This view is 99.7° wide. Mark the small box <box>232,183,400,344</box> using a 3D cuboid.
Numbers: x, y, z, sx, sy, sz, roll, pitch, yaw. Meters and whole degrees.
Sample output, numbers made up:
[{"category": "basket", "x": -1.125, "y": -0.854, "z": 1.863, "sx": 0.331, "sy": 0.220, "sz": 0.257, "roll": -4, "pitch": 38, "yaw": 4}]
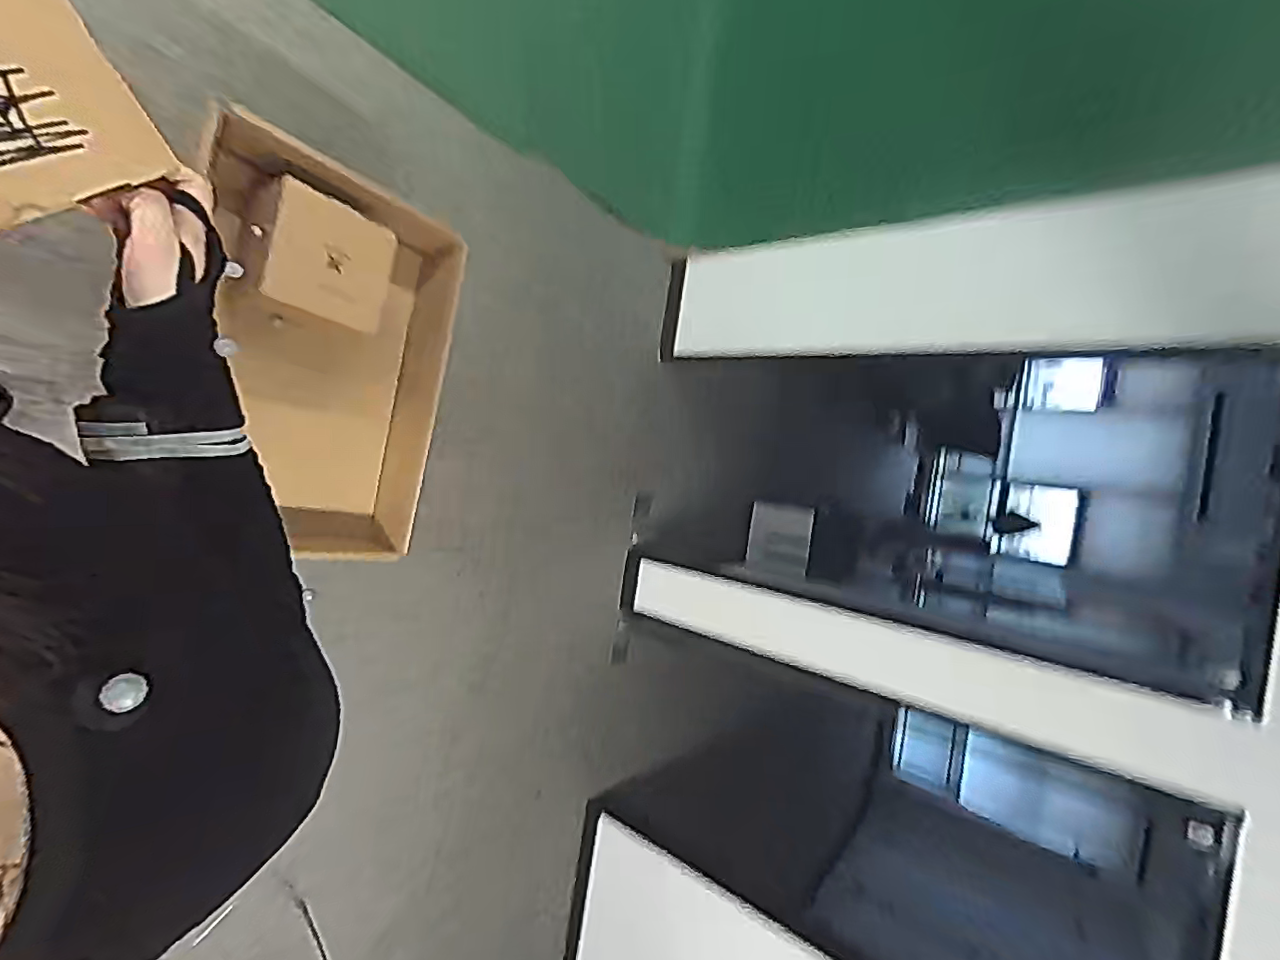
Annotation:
[{"category": "small box", "x": -0.521, "y": -0.332, "z": 0.869, "sx": 0.168, "sy": 0.176, "sz": 0.179, "roll": 15, "pitch": 84, "yaw": -52}]
